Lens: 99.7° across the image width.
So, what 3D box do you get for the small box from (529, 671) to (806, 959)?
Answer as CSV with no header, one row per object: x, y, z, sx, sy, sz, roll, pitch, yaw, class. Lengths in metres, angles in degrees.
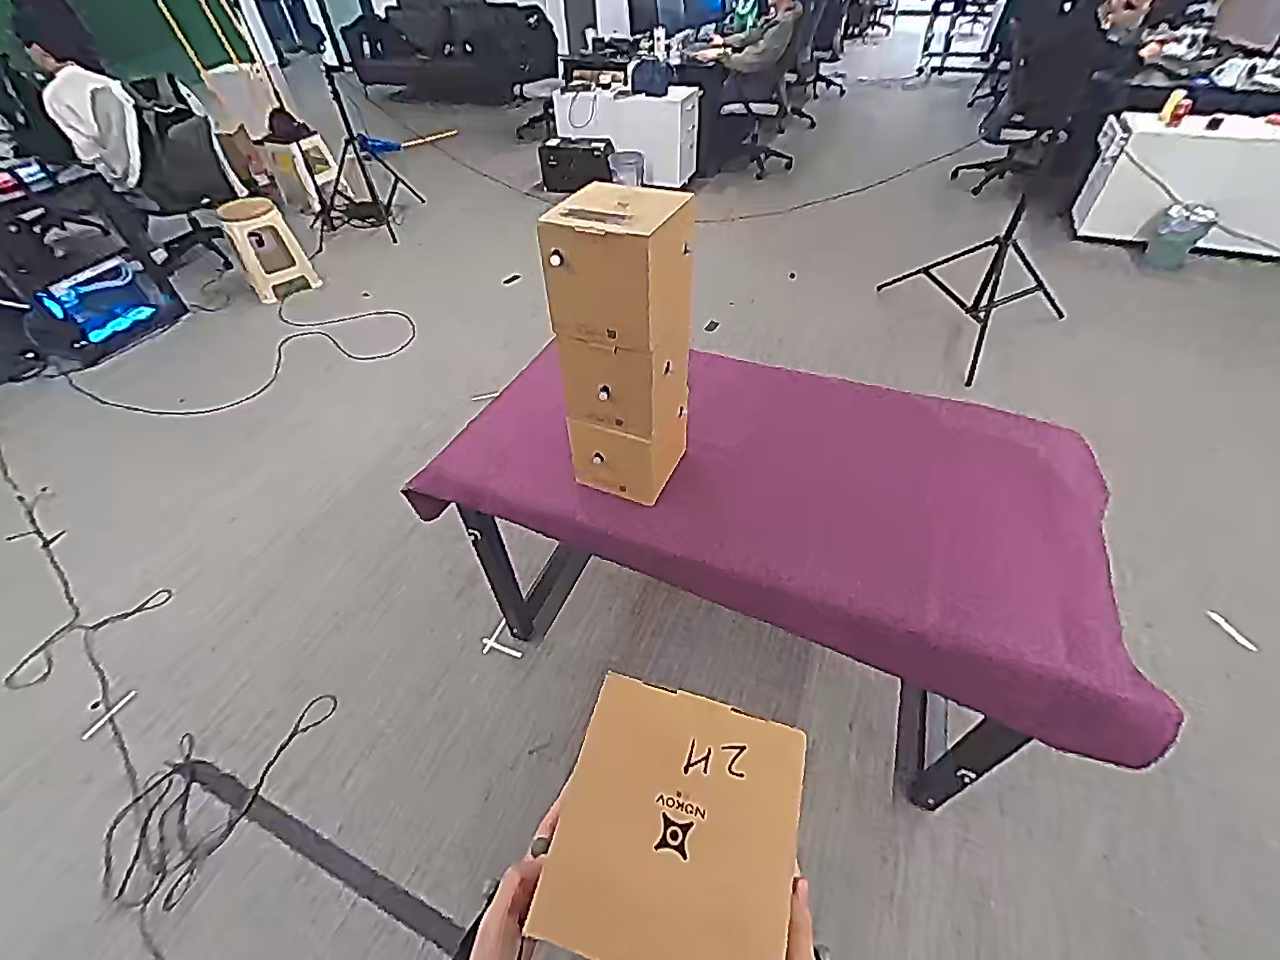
0.027,0.293,0.453,0.168,0.176,0.179,14,53,9,small box

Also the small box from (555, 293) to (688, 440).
-0.023,-0.193,0.927,0.168,0.176,0.179,16,48,16,small box

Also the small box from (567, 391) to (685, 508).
-0.019,-0.074,1.040,0.168,0.176,0.179,17,48,18,small box
